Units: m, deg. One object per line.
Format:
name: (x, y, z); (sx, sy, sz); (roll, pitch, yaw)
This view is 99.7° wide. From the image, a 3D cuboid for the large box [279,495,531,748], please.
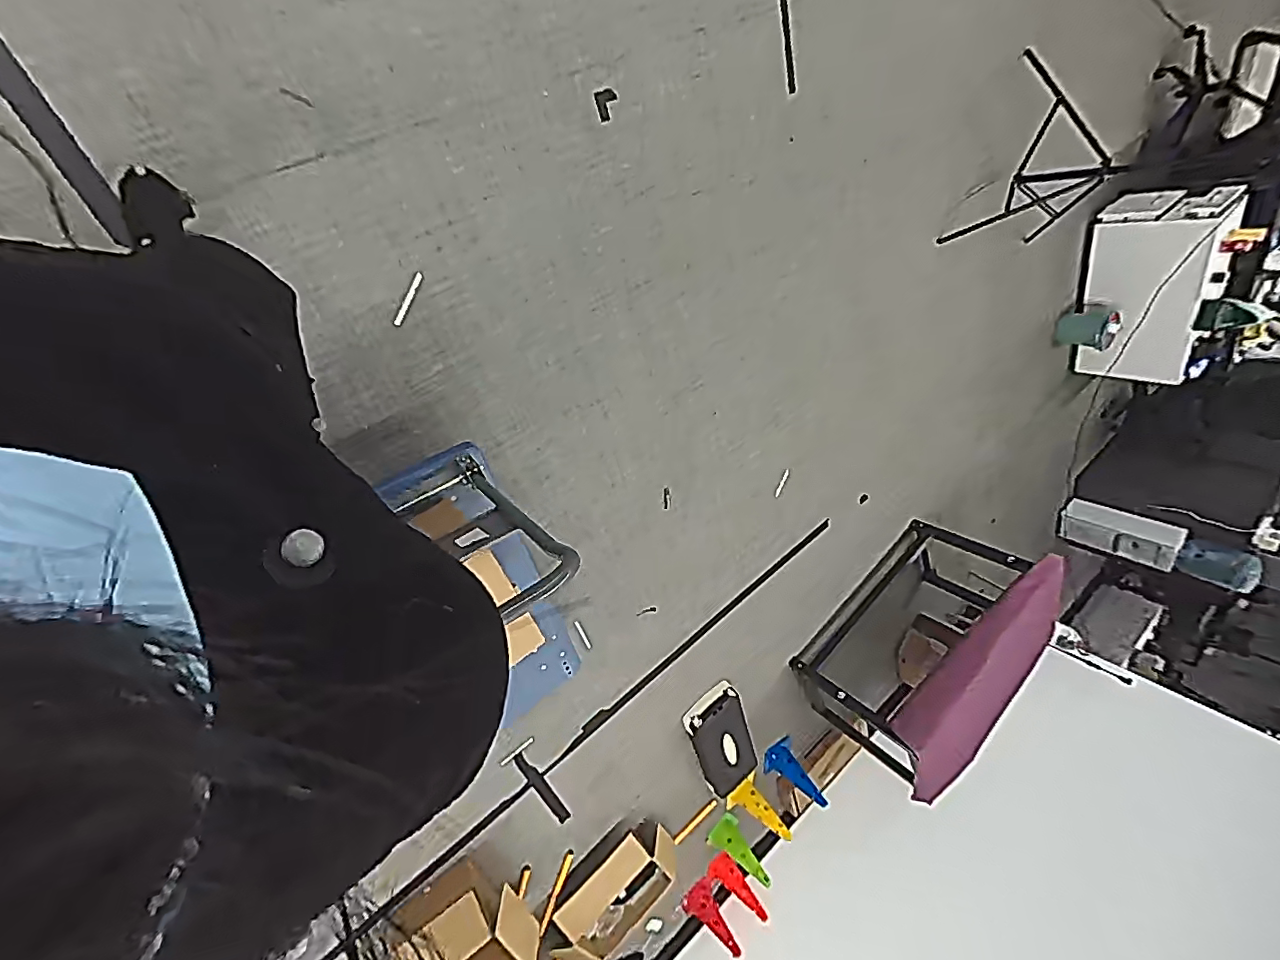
large box: (-0.535, 0.300, 1.246); (0.408, 0.320, 0.320); (-34, 124, -20)
